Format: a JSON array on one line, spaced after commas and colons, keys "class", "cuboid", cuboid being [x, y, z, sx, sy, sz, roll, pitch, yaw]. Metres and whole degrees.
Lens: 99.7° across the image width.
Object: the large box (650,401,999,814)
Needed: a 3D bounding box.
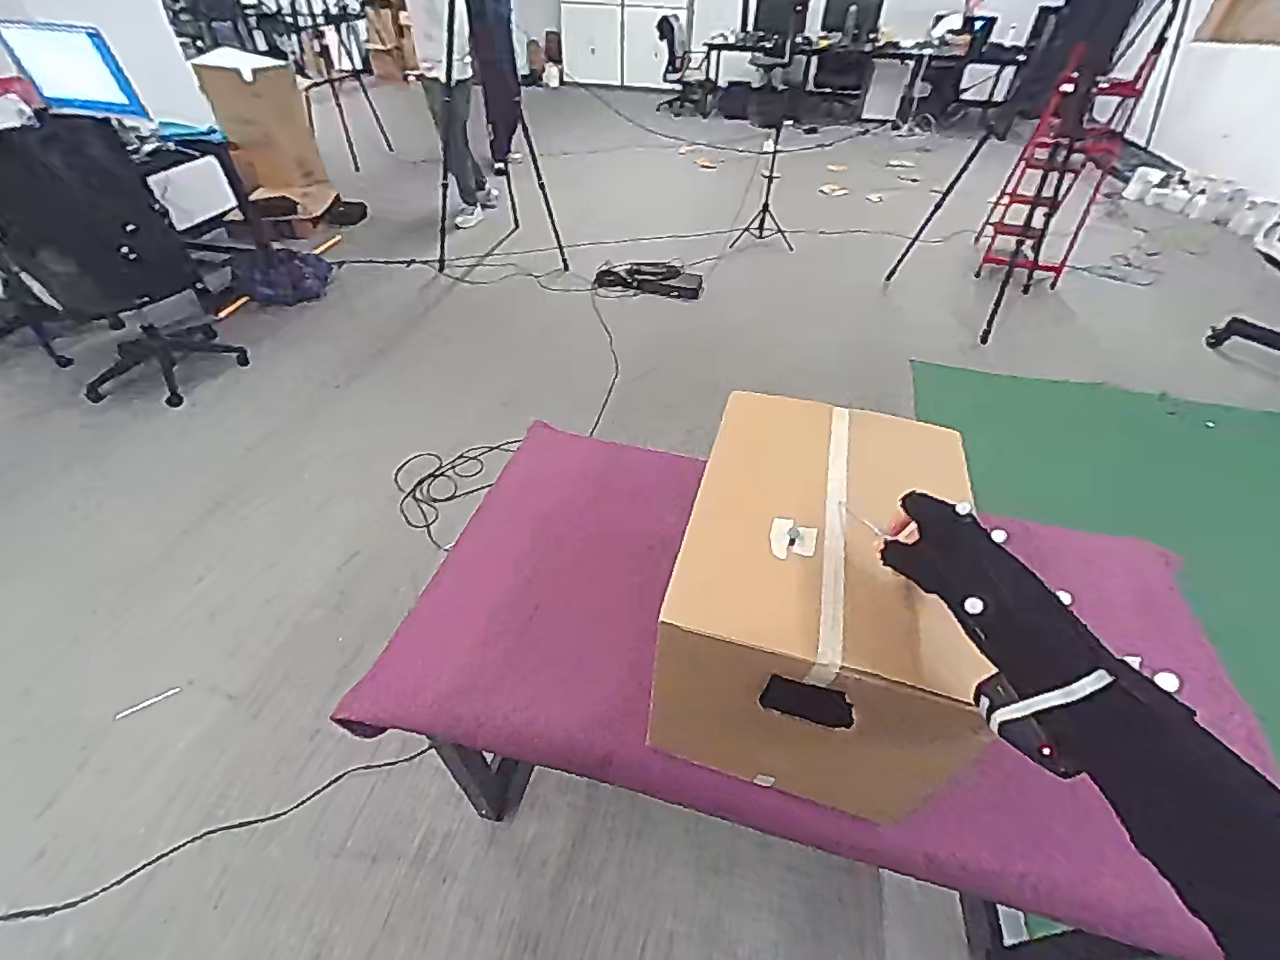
[{"class": "large box", "cuboid": [0.216, 0.153, 0.738, 0.320, 0.320, 0.408, 13, 45, 11]}]
